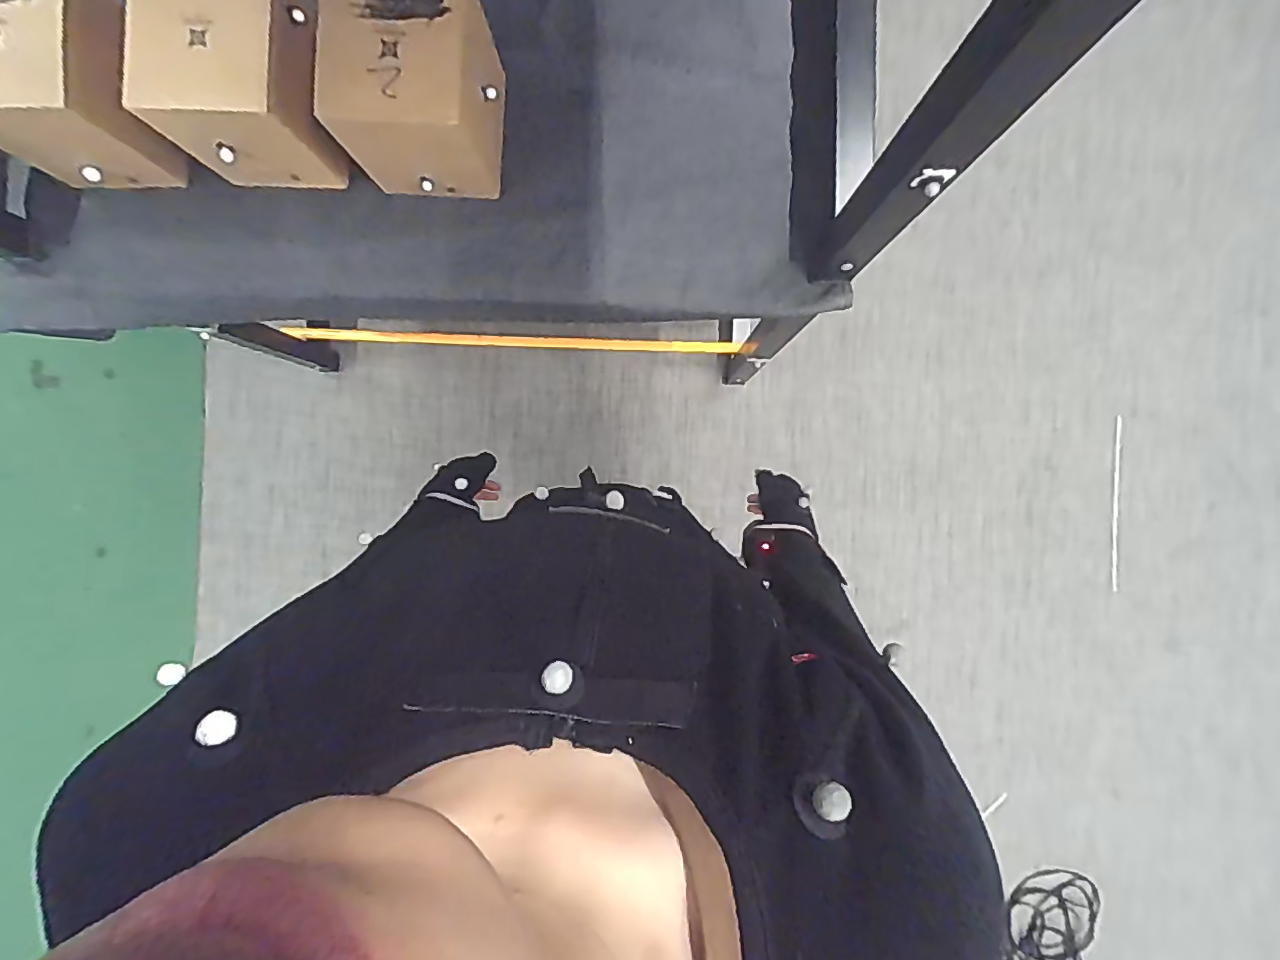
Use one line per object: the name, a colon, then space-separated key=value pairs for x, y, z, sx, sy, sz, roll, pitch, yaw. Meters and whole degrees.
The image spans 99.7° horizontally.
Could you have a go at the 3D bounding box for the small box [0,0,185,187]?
small box: x=-0.716 y=-0.500 z=0.678 sx=0.168 sy=0.176 sz=0.179 roll=0 pitch=90 yaw=0

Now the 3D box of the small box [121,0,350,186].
small box: x=-0.489 y=-0.498 z=0.679 sx=0.168 sy=0.176 sz=0.179 roll=2 pitch=89 yaw=0
